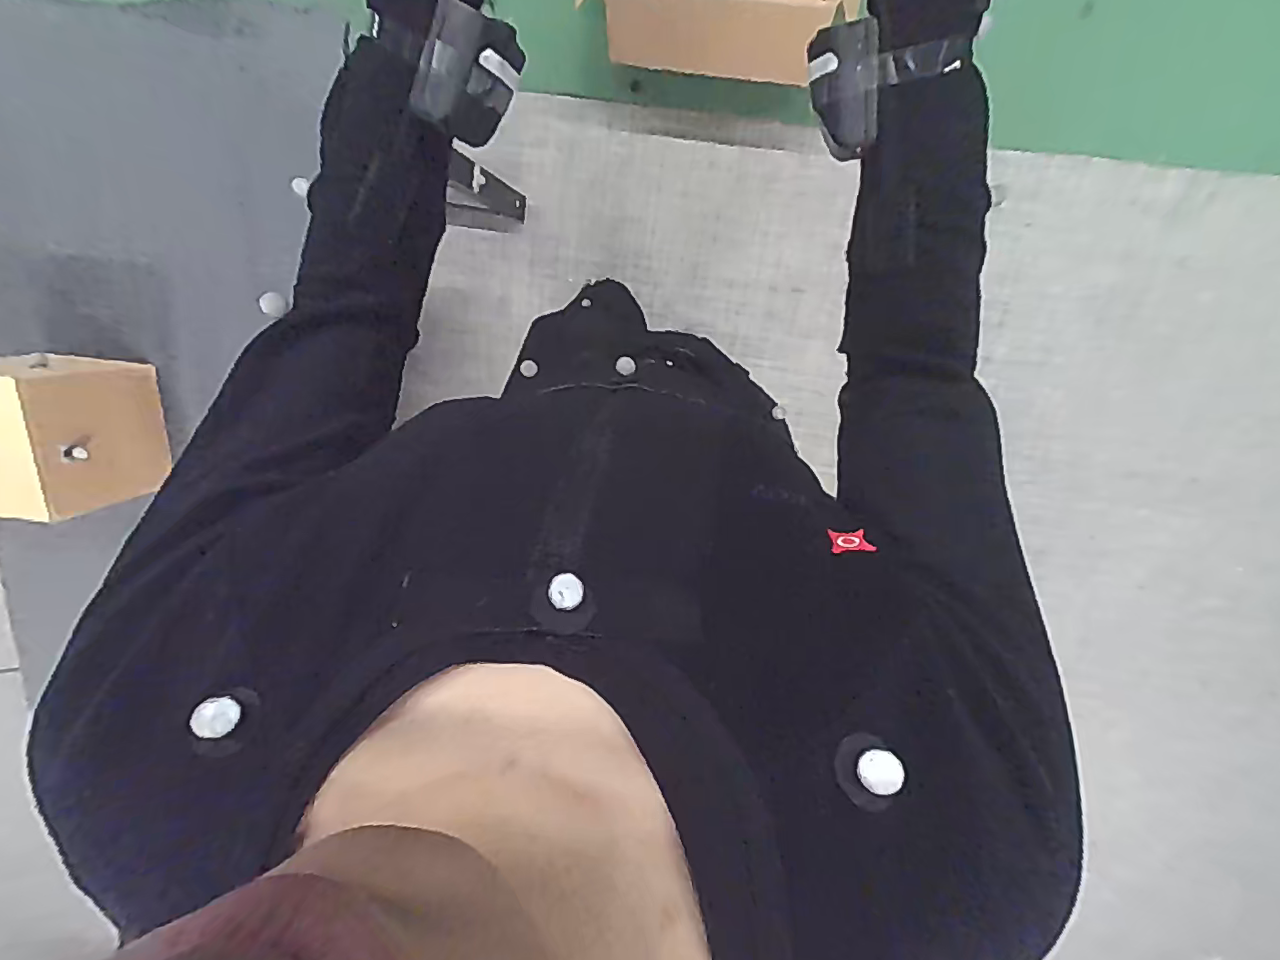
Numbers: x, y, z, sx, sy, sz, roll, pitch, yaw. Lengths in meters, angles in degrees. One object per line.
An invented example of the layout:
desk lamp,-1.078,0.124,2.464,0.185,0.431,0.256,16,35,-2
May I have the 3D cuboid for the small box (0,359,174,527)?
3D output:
small box,-0.762,-0.058,0.699,0.168,0.176,0.179,6,108,3
